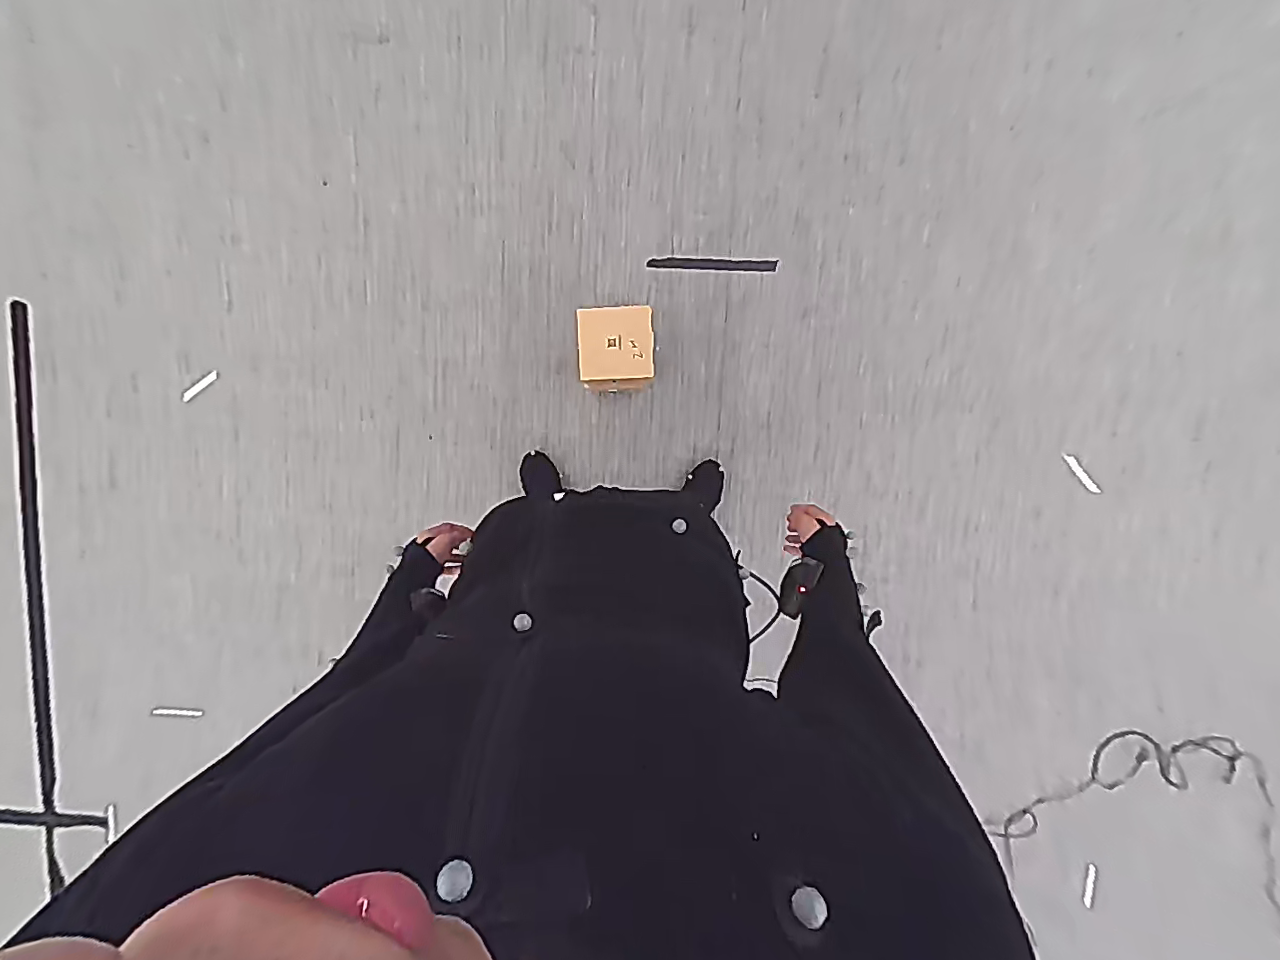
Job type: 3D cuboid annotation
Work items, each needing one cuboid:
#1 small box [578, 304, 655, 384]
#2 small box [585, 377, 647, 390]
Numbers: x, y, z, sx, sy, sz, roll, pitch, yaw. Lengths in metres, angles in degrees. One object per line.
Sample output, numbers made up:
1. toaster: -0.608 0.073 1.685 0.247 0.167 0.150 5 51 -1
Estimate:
1. small box: -0.053 -0.327 1.327 0.179 0.176 0.168 -2 96 1
2. small box: -0.064 -0.341 1.491 0.168 0.176 0.179 -1 96 1
